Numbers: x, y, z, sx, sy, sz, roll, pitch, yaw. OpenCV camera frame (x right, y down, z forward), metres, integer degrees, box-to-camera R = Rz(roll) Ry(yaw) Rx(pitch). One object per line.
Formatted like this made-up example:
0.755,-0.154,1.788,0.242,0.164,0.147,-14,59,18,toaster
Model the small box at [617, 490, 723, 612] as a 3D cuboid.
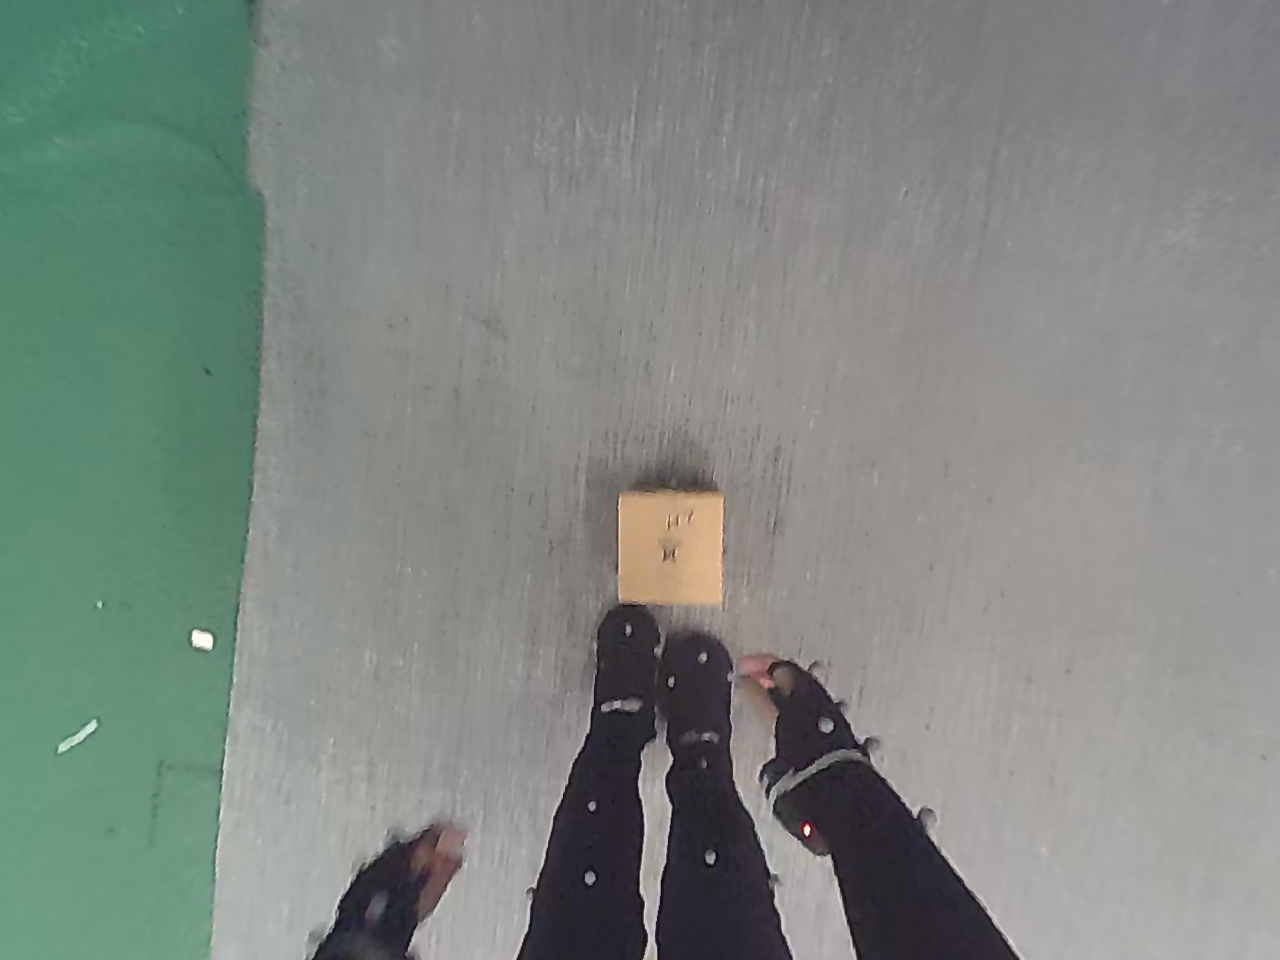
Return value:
0.055,0.113,0.922,0.168,0.176,0.179,1,93,6,small box
